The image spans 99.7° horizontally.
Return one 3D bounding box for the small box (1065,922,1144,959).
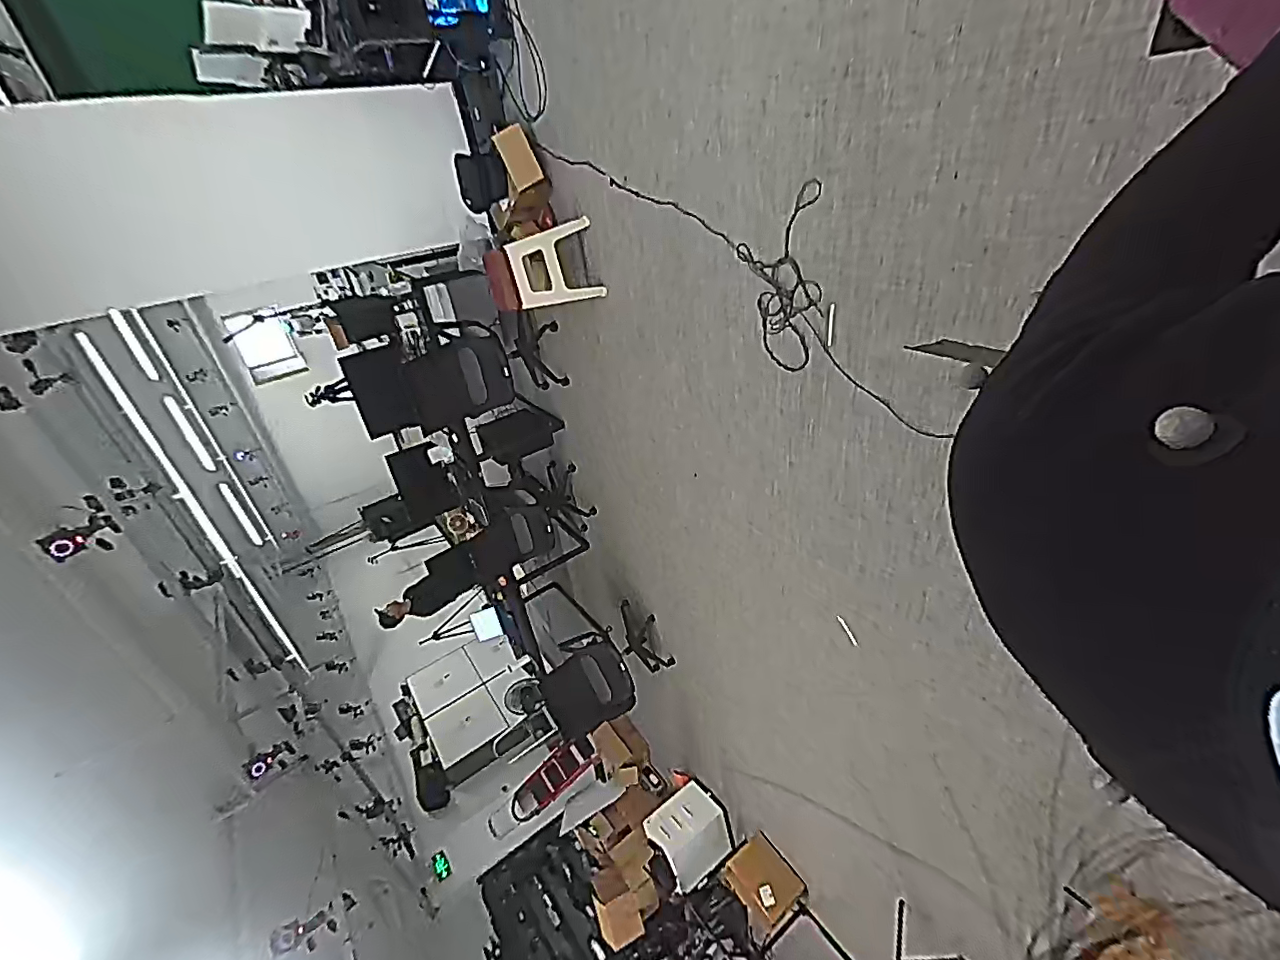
[{"bbox_3d":[1.406,1.487,1.625,0.168,0.176,0.179,36,144,43],"label":"small box"}]
